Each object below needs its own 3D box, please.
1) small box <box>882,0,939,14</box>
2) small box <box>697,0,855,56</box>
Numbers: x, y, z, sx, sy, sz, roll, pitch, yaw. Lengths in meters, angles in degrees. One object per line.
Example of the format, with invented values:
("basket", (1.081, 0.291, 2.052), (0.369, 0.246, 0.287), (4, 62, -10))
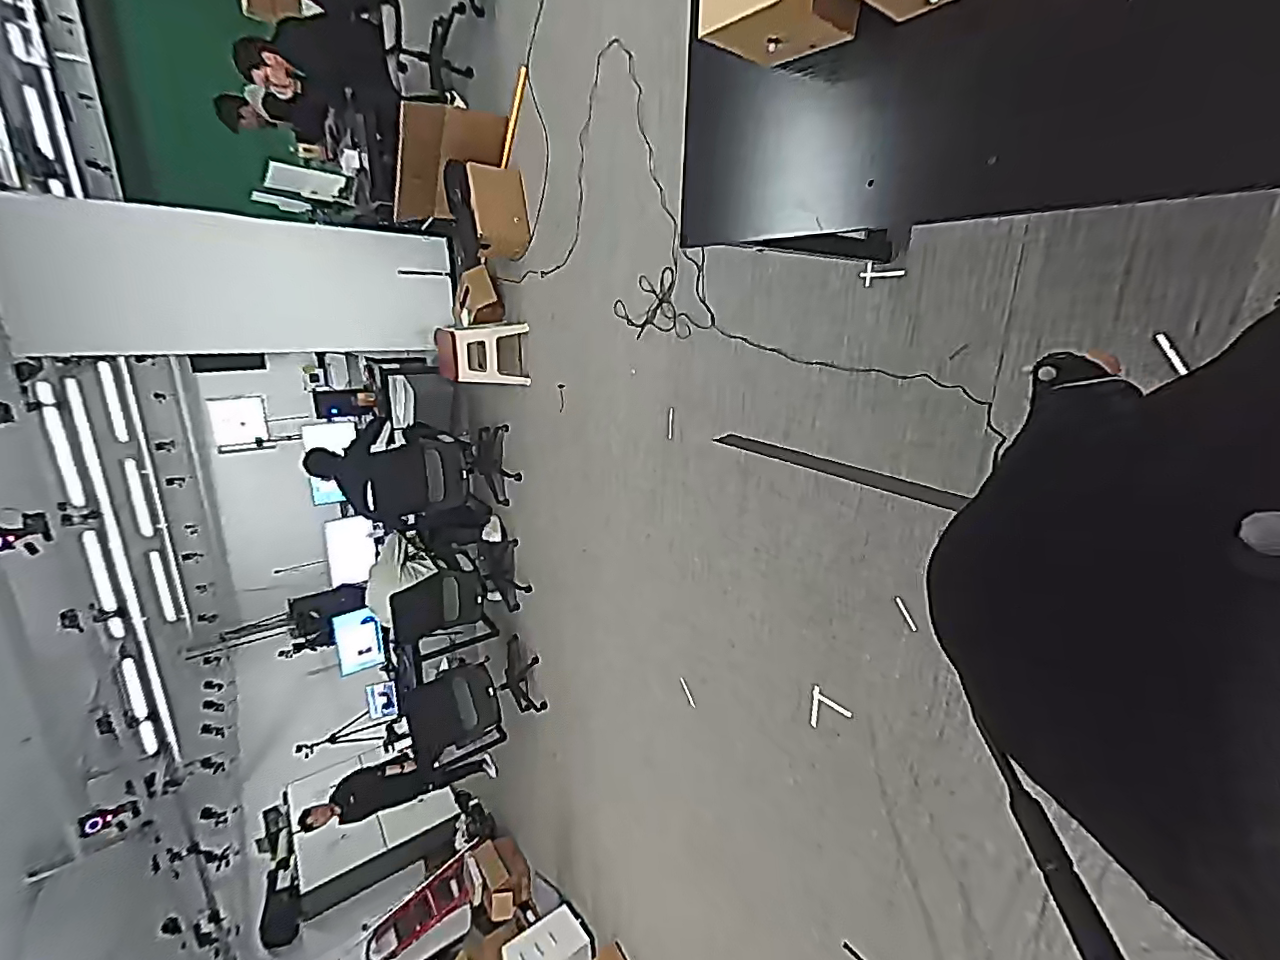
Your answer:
("small box", (0.337, -0.682, 0.608), (0.168, 0.176, 0.179), (21, 118, 49))
("small box", (0.204, -0.746, 0.777), (0.168, 0.176, 0.179), (26, 120, 47))
